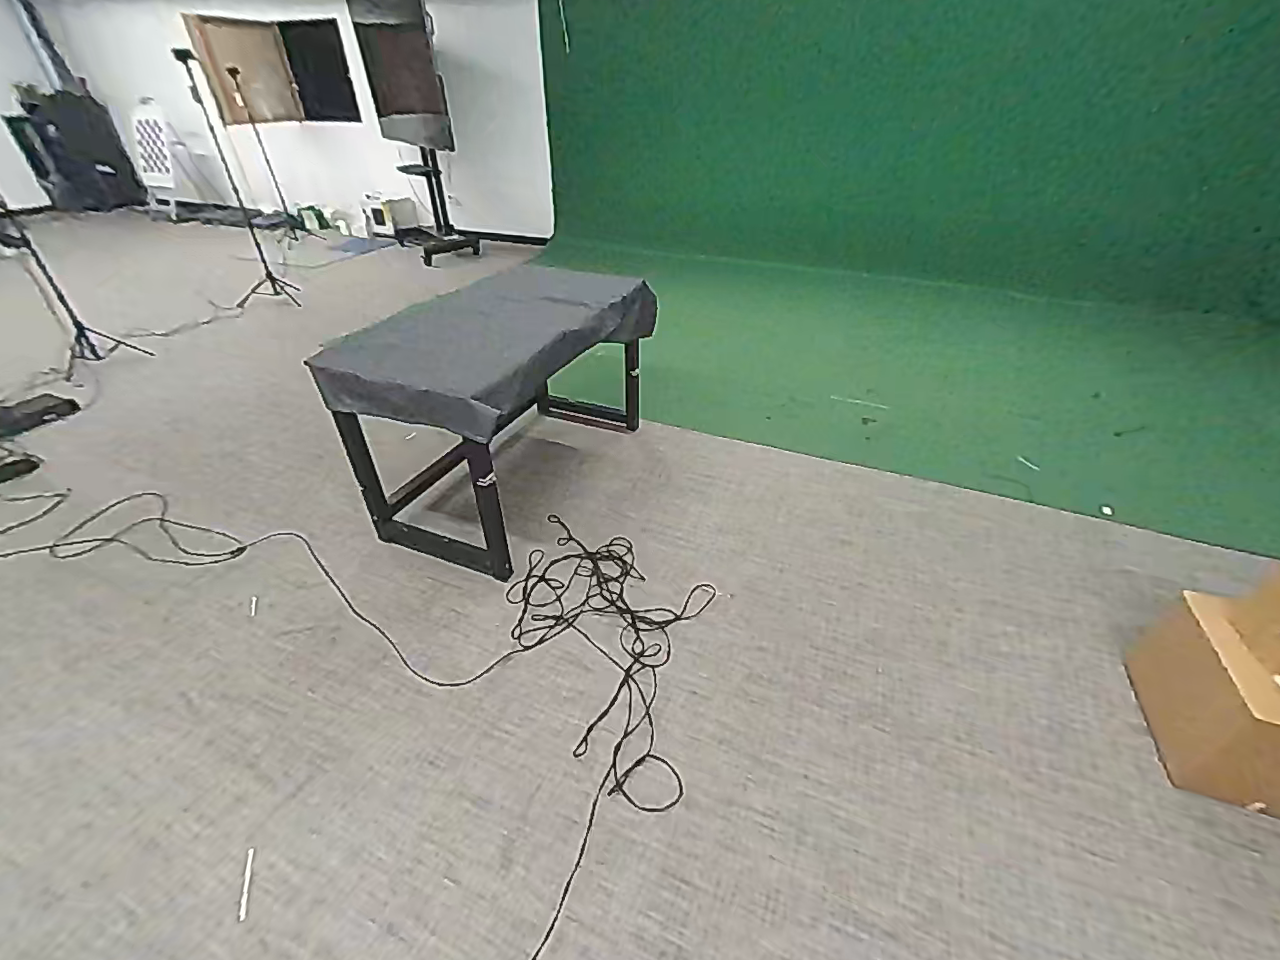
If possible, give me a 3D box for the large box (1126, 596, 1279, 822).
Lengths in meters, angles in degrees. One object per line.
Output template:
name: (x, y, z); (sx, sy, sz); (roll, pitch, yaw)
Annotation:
large box: (1.536, 0.570, 1.352); (0.320, 0.320, 0.408); (11, 38, 17)
